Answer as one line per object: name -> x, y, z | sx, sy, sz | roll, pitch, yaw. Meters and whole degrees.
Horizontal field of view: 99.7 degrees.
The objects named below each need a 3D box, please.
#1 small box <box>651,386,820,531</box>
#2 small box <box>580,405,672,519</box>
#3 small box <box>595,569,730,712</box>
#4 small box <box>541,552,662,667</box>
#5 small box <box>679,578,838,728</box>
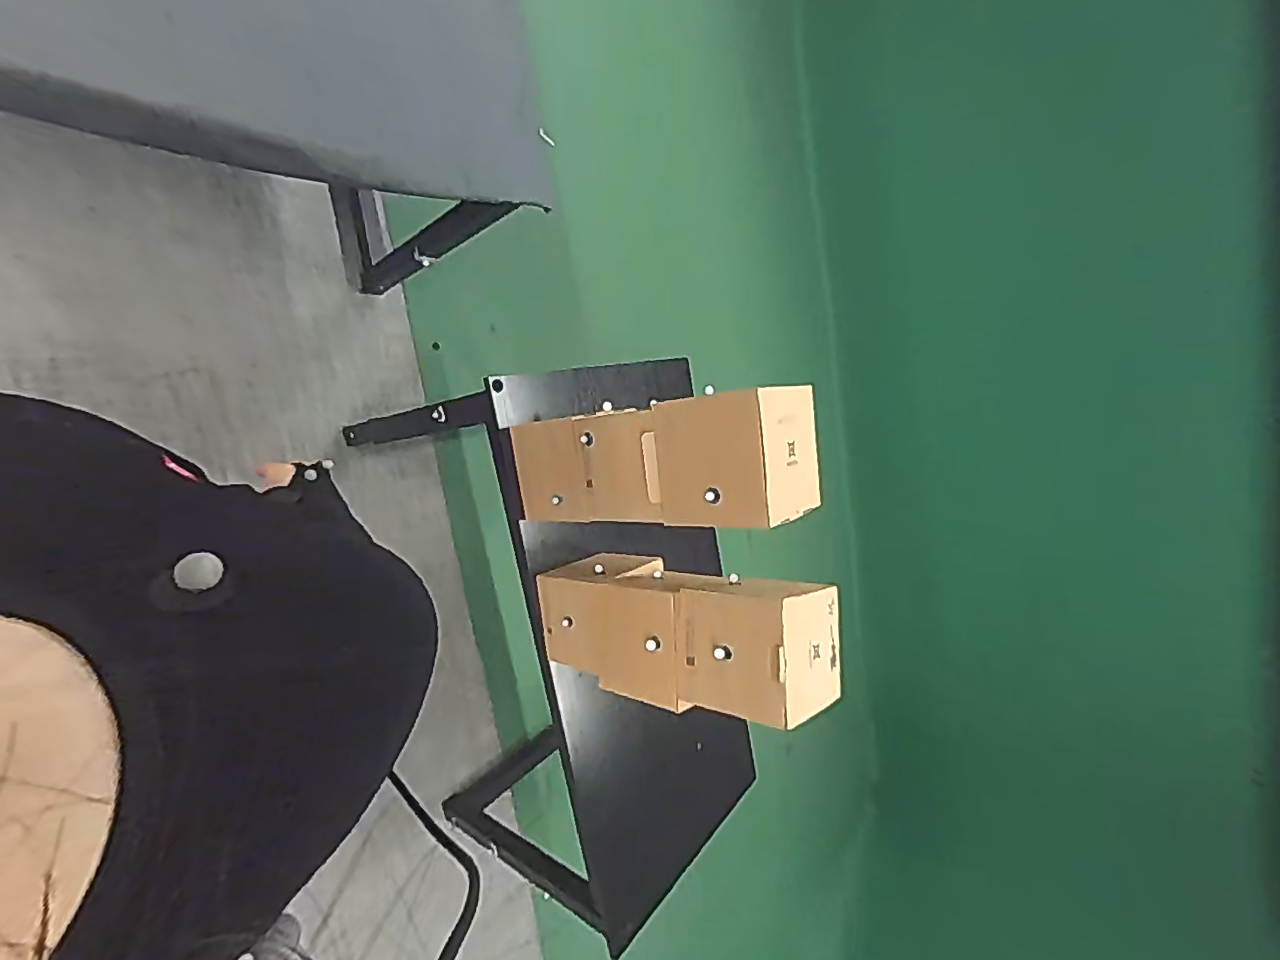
small box -> 0.133, -0.034, 0.755 | 0.168, 0.176, 0.179 | -13, 99, -49
small box -> 0.018, -0.033, 0.870 | 0.179, 0.176, 0.168 | -14, 100, -48
small box -> 0.040, 0.250, 0.888 | 0.168, 0.176, 0.179 | 0, 89, -48
small box -> -0.070, 0.236, 1.010 | 0.179, 0.176, 0.168 | -12, 98, -48
small box -> 0.170, 0.237, 0.789 | 0.179, 0.176, 0.168 | 4, 85, -47
